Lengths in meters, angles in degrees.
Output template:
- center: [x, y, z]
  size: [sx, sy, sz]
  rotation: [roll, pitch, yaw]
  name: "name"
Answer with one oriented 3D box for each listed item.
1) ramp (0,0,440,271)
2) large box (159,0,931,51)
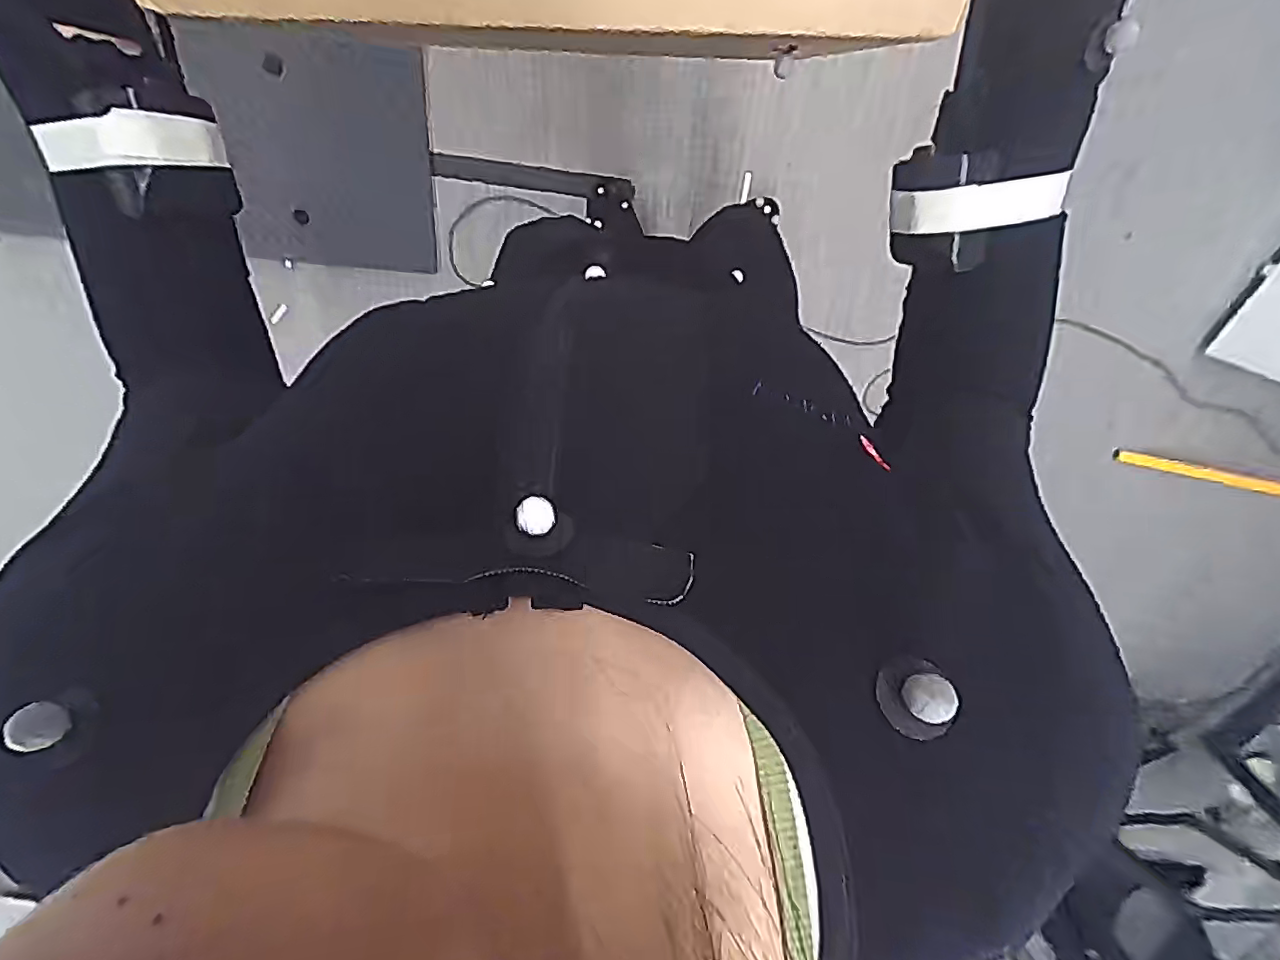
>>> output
- center: [-0.969, -0.754, 1.165]
  size: [0.991, 0.206, 0.509]
  rotation: [6, 120, 0]
  name: "ramp"
- center: [-0.047, -0.446, 0.310]
  size: [0.408, 0.320, 0.320]
  rotation: [1, 126, 0]
  name: "large box"
